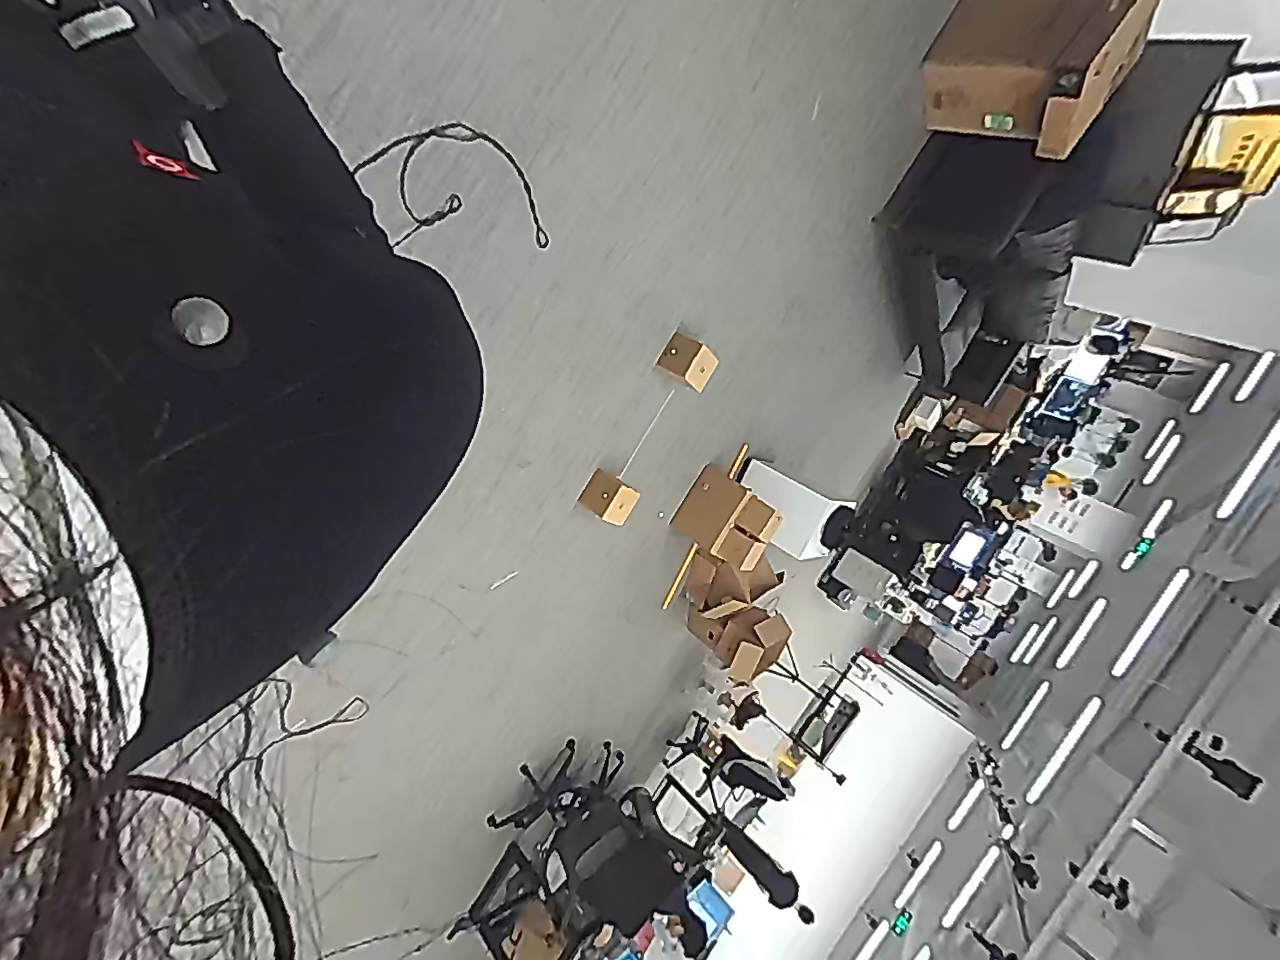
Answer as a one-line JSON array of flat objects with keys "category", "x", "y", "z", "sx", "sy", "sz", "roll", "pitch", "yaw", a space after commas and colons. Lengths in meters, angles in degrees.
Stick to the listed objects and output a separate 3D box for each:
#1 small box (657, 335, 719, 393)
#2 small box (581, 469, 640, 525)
[{"category": "small box", "x": 0.210, "y": -0.512, "z": 2.375, "sx": 0.168, "sy": 0.176, "sz": 0.179, "roll": -59, "pitch": 146, "yaw": 3}, {"category": "small box", "x": -0.139, "y": 0.076, "z": 2.428, "sx": 0.179, "sy": 0.176, "sz": 0.168, "roll": -59, "pitch": 146, "yaw": 3}]
